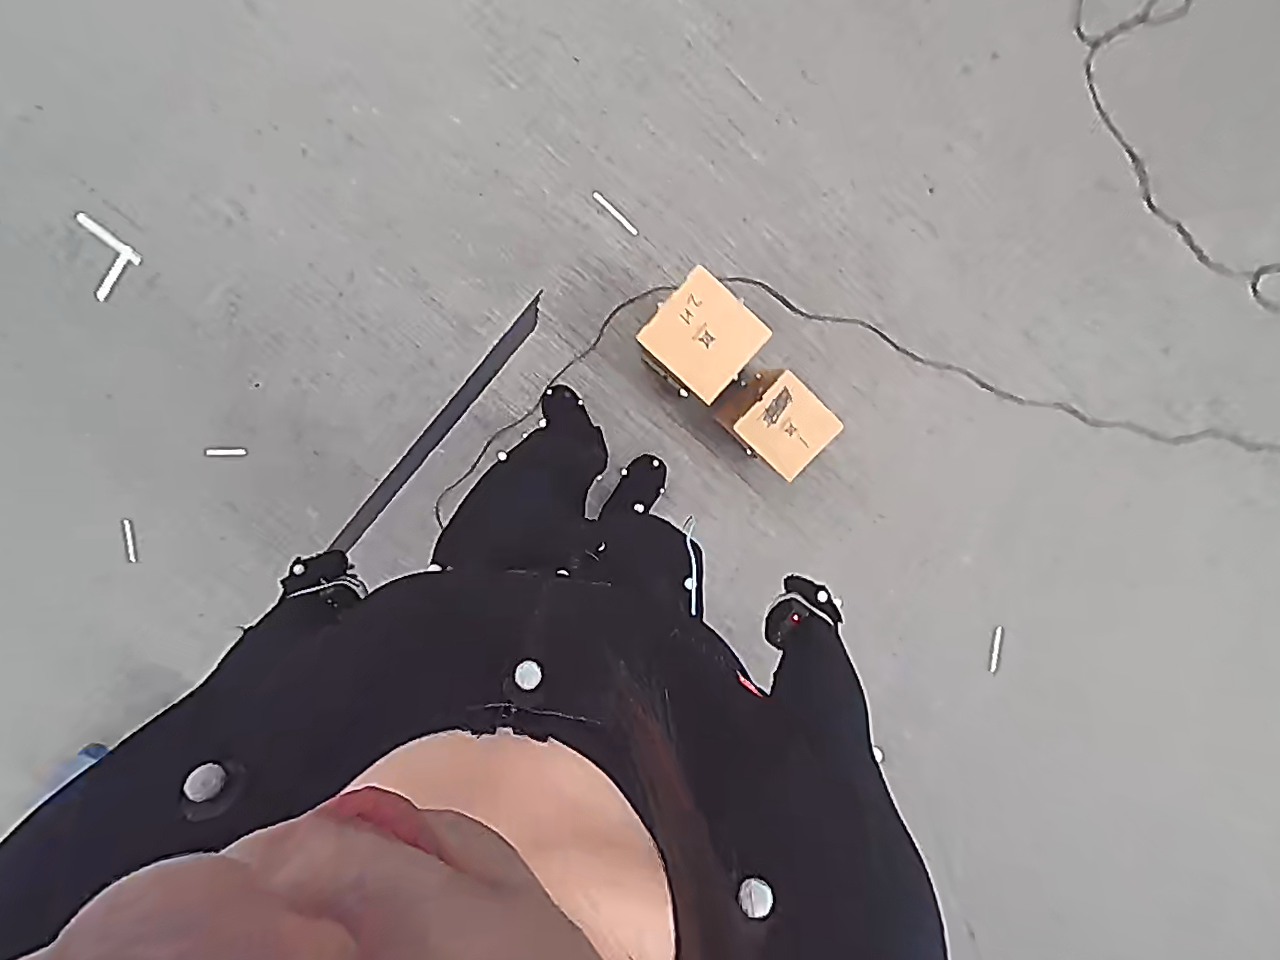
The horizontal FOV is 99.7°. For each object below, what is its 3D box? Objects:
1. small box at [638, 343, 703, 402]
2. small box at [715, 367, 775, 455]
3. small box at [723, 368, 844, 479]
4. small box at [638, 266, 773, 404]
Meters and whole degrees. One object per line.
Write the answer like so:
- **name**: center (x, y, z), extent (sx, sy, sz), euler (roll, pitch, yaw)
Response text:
- **small box**: center (0.114, -0.291, 1.171), extent (0.179, 0.176, 0.168), euler (41, 98, -7)
- **small box**: center (0.309, -0.164, 1.364), extent (0.179, 0.176, 0.168), euler (43, 98, -9)
- **small box**: center (0.308, -0.130, 1.203), extent (0.179, 0.176, 0.168), euler (42, 98, -9)
- **small box**: center (0.115, -0.263, 1.008), extent (0.179, 0.176, 0.168), euler (42, 98, -6)
